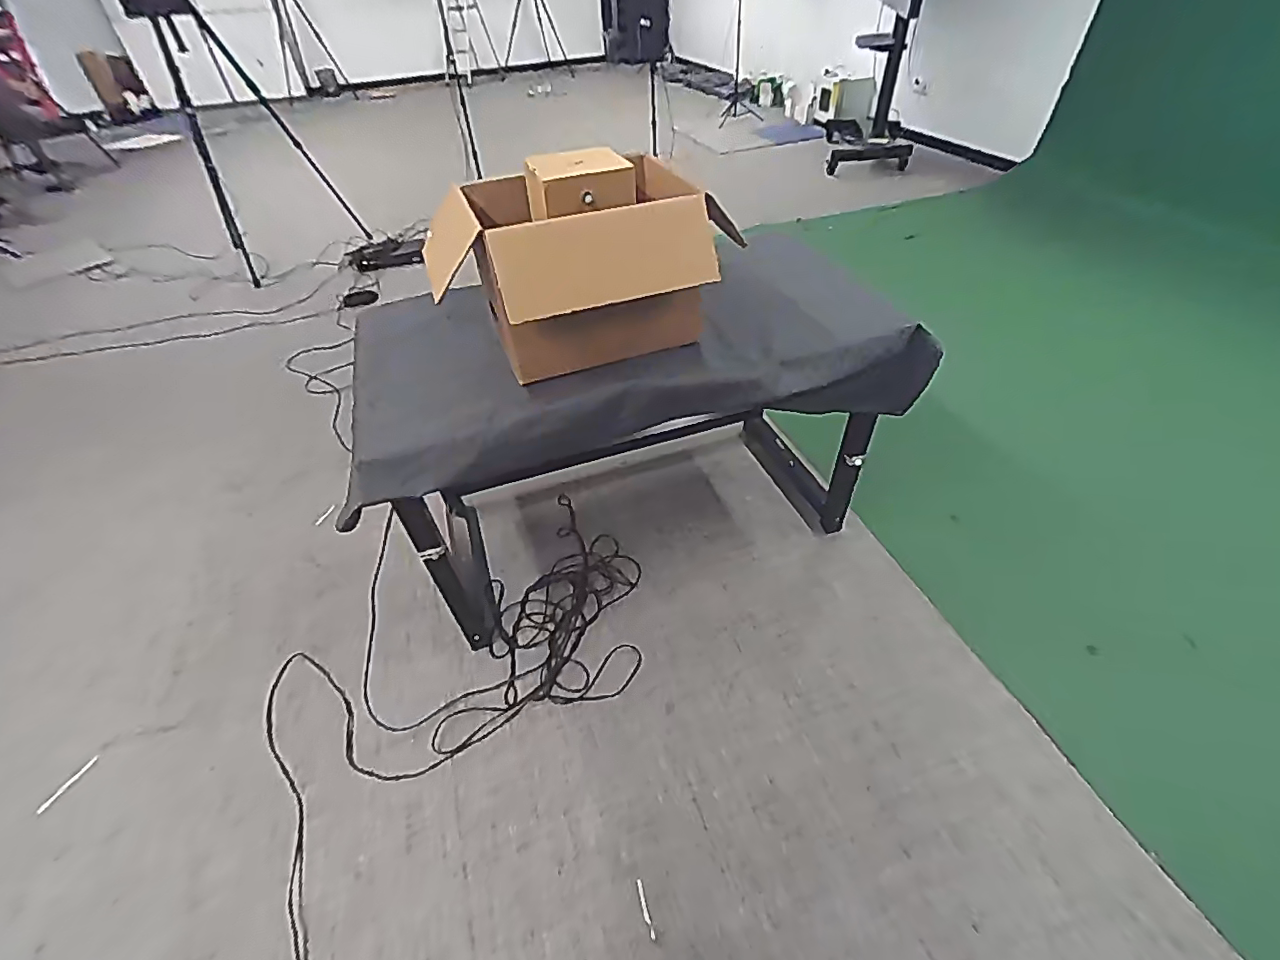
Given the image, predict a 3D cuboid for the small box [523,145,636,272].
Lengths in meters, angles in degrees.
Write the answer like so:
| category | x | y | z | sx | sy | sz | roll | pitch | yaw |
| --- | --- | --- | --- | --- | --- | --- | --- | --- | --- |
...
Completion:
| category | x | y | z | sx | sy | sz | roll | pitch | yaw |
| --- | --- | --- | --- | --- | --- | --- | --- | --- | --- |
| small box | -0.115 | -0.532 | 1.060 | 0.179 | 0.176 | 0.168 | -17 | 46 | -13 |
